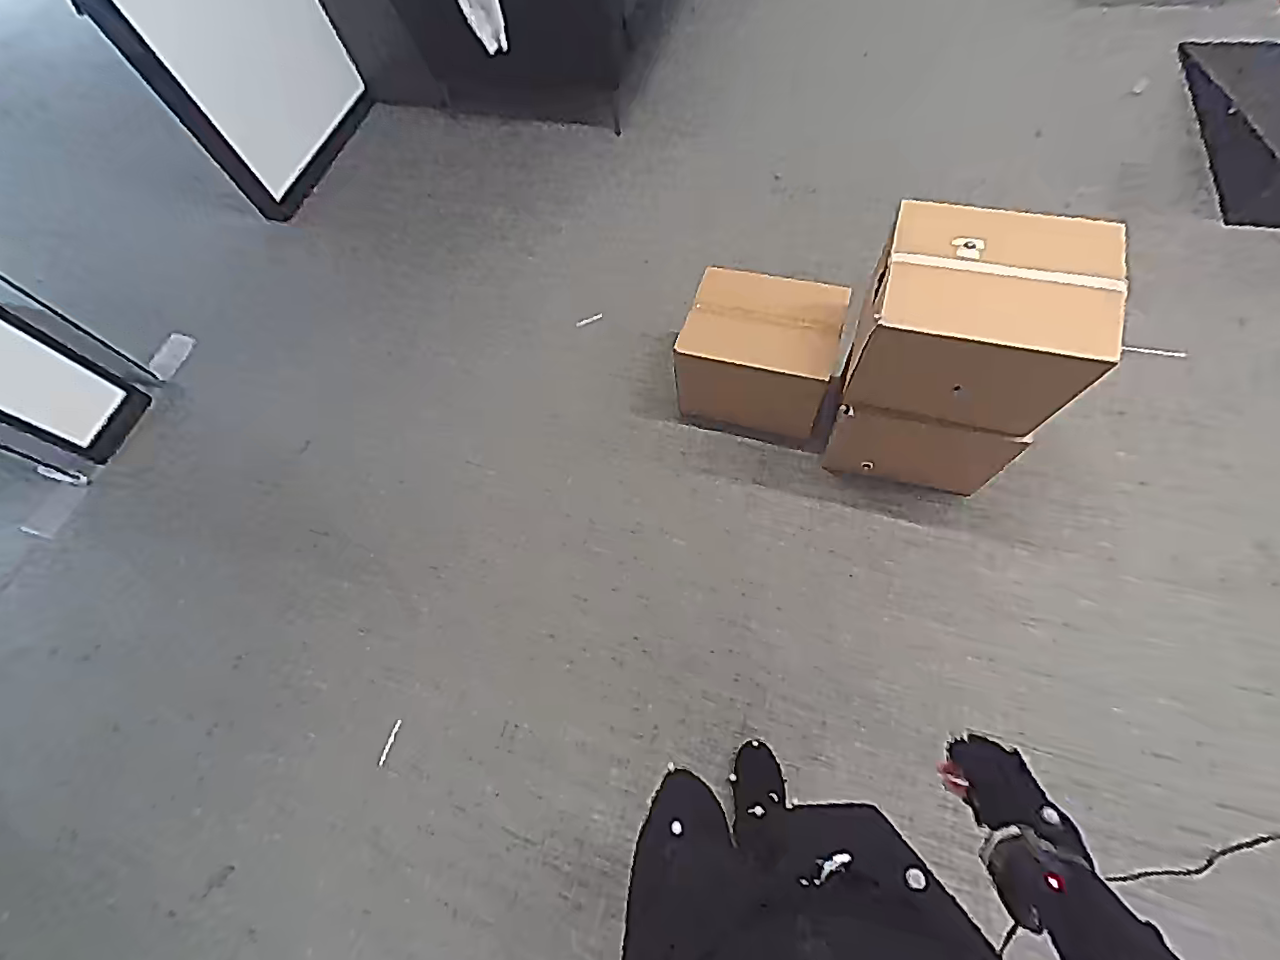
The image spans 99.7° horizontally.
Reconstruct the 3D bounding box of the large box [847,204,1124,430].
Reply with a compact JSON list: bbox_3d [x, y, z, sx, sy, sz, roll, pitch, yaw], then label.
[{"bbox_3d":[0.698,-0.333,1.148,0.408,0.320,0.320,13,72,14],"label":"large box"}]
